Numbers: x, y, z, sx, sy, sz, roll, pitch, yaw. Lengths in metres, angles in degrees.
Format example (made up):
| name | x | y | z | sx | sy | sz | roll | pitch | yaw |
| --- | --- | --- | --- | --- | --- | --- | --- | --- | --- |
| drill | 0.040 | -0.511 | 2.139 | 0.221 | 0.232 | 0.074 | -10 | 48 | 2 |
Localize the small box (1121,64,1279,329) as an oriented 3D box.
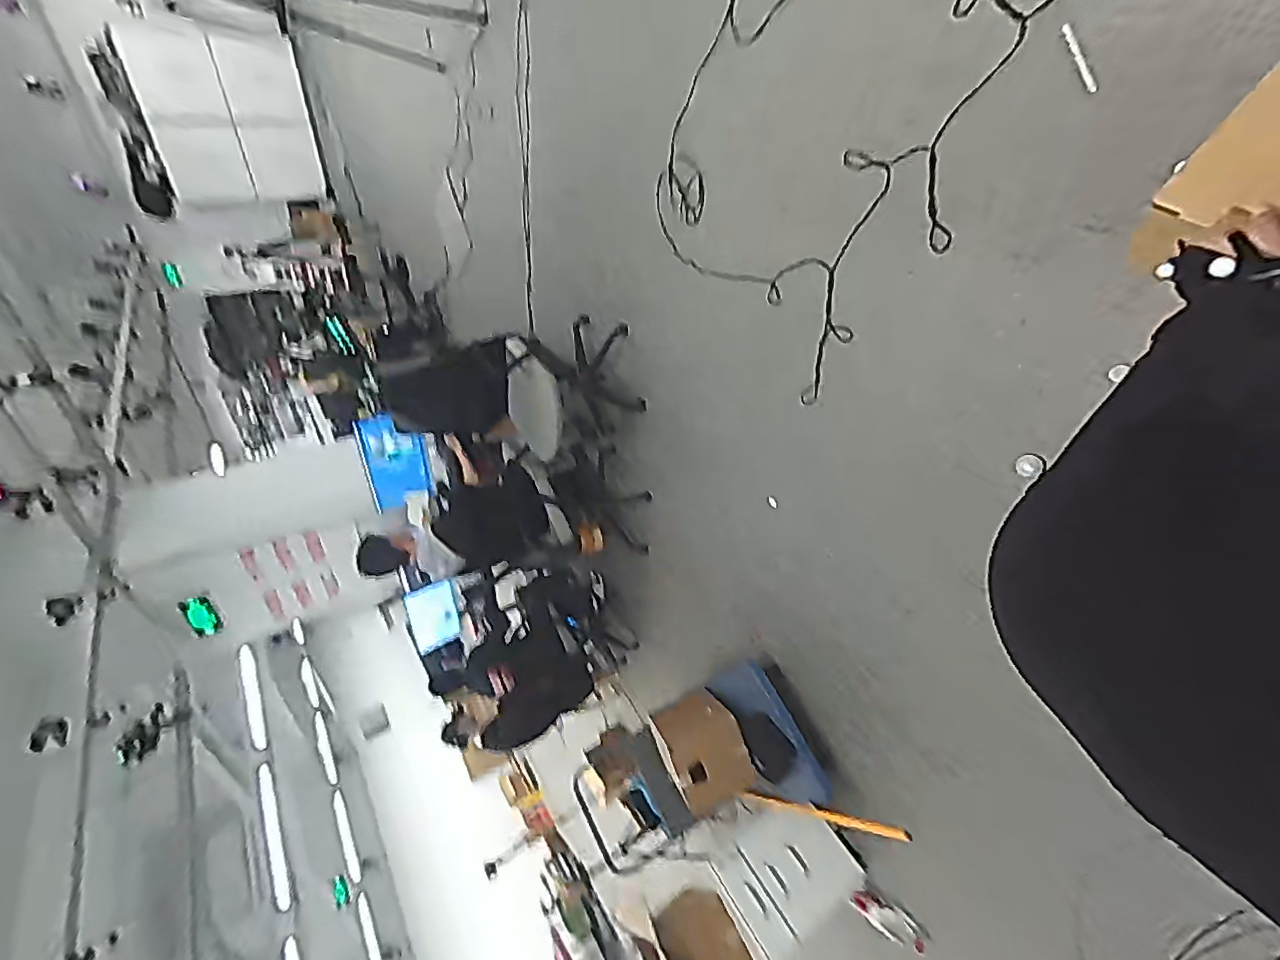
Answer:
| name | x | y | z | sx | sy | sz | roll | pitch | yaw |
| --- | --- | --- | --- | --- | --- | --- | --- | --- | --- |
| small box | 0.656 | -0.288 | 0.549 | 0.168 | 0.179 | 0.176 | 47 | 113 | 27 |
